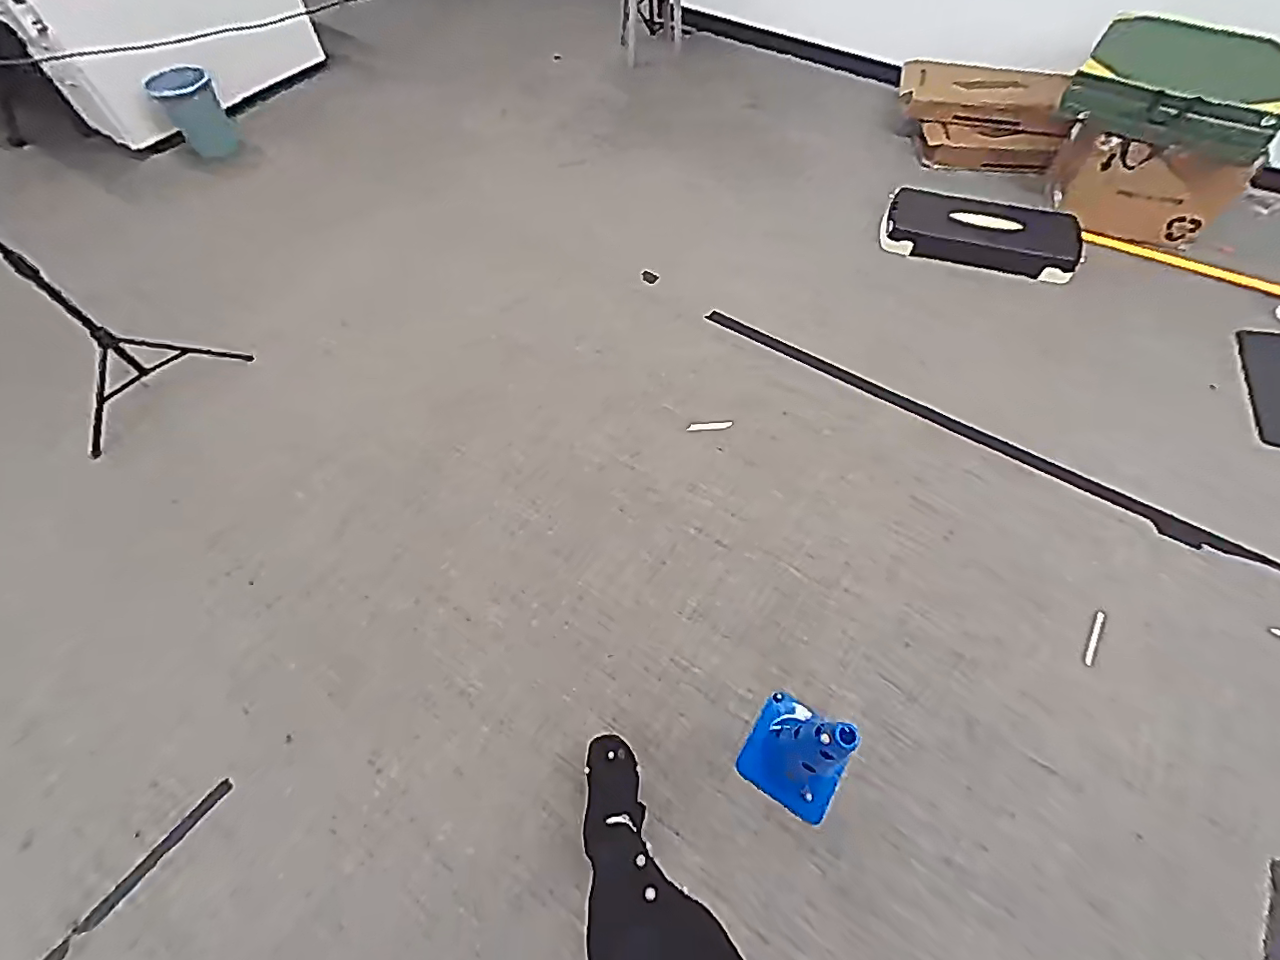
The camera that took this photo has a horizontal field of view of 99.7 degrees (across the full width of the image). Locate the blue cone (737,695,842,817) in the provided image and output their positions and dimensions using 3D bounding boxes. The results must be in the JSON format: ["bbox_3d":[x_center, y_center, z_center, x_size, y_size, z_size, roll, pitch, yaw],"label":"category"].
[{"bbox_3d":[0.320,0.503,1.024,0.192,0.380,0.193,31,64,19],"label":"blue cone"}]
